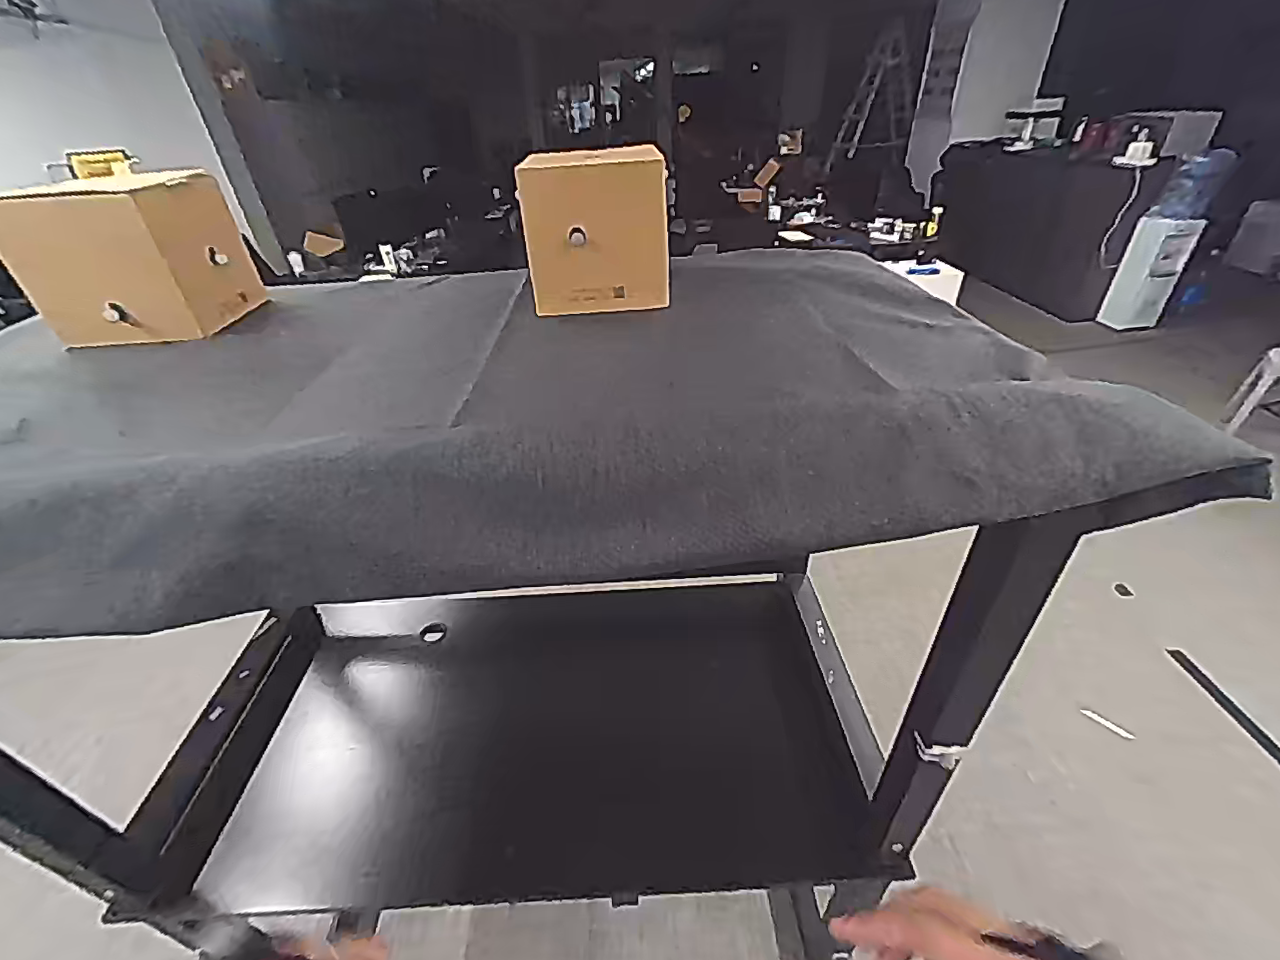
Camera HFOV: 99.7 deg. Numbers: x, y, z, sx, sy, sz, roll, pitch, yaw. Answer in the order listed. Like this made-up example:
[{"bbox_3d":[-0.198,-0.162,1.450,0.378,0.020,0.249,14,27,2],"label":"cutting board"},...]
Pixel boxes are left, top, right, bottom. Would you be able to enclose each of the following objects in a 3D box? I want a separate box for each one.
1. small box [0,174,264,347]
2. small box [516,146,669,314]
[{"bbox_3d":[-0.628,-0.279,0.685,0.179,0.176,0.168,-4,35,-3],"label":"small box"},{"bbox_3d":[-0.052,-0.320,0.699,0.168,0.176,0.179,-4,35,-1],"label":"small box"}]
